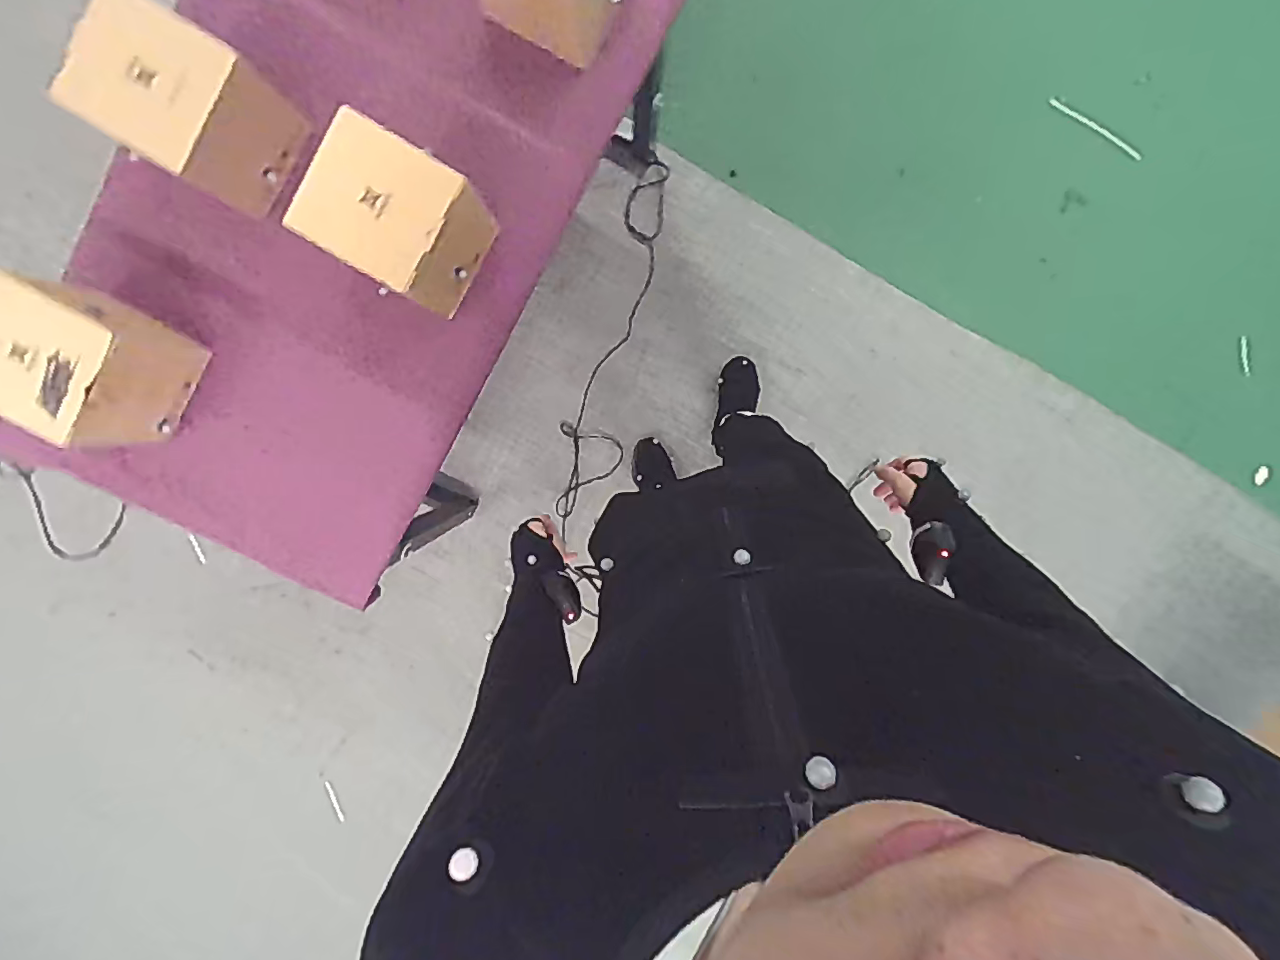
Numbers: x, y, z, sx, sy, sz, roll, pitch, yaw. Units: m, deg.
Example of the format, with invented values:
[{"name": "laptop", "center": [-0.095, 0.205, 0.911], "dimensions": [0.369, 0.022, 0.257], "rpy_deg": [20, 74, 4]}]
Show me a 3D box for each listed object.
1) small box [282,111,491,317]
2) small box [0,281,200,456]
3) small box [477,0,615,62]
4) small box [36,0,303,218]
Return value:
[{"name": "small box", "center": [-0.335, -0.349, 0.751], "dimensions": [0.179, 0.176, 0.168], "rpy_deg": [29, 94, -5]}, {"name": "small box", "center": [-0.777, -0.152, 0.752], "dimensions": [0.179, 0.176, 0.168], "rpy_deg": [29, 94, -6]}, {"name": "small box", "center": [-0.126, -0.710, 0.713], "dimensions": [0.179, 0.176, 0.168], "rpy_deg": [27, 96, -5]}, {"name": "small box", "center": [-0.608, -0.488, 0.724], "dimensions": [0.179, 0.176, 0.168], "rpy_deg": [30, 95, -7]}]
